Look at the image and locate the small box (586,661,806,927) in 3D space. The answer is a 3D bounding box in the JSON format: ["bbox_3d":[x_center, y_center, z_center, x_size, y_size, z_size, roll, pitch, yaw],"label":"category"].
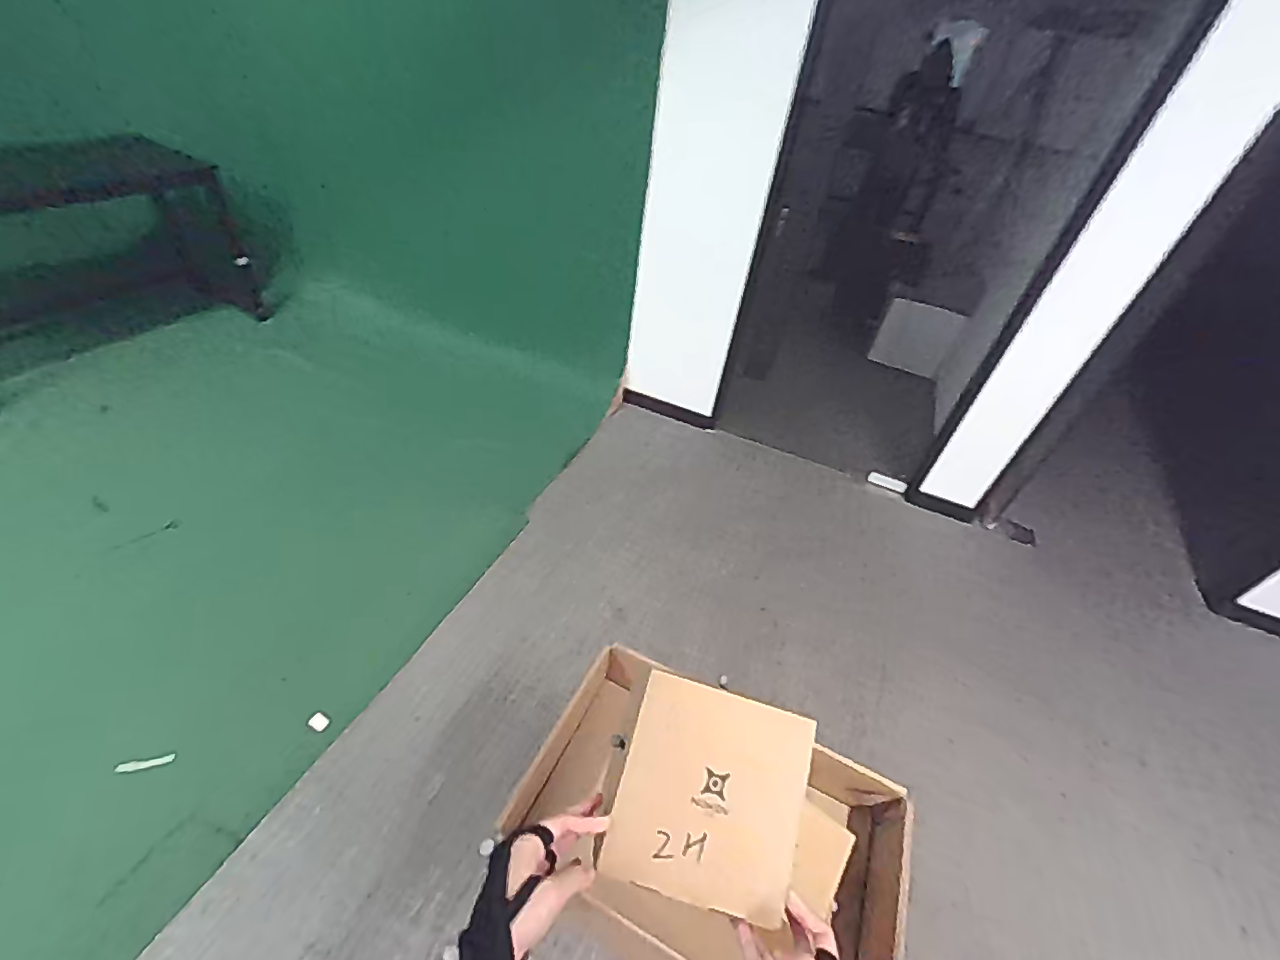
[{"bbox_3d":[0.048,0.297,0.557,0.168,0.176,0.179,18,72,2],"label":"small box"}]
